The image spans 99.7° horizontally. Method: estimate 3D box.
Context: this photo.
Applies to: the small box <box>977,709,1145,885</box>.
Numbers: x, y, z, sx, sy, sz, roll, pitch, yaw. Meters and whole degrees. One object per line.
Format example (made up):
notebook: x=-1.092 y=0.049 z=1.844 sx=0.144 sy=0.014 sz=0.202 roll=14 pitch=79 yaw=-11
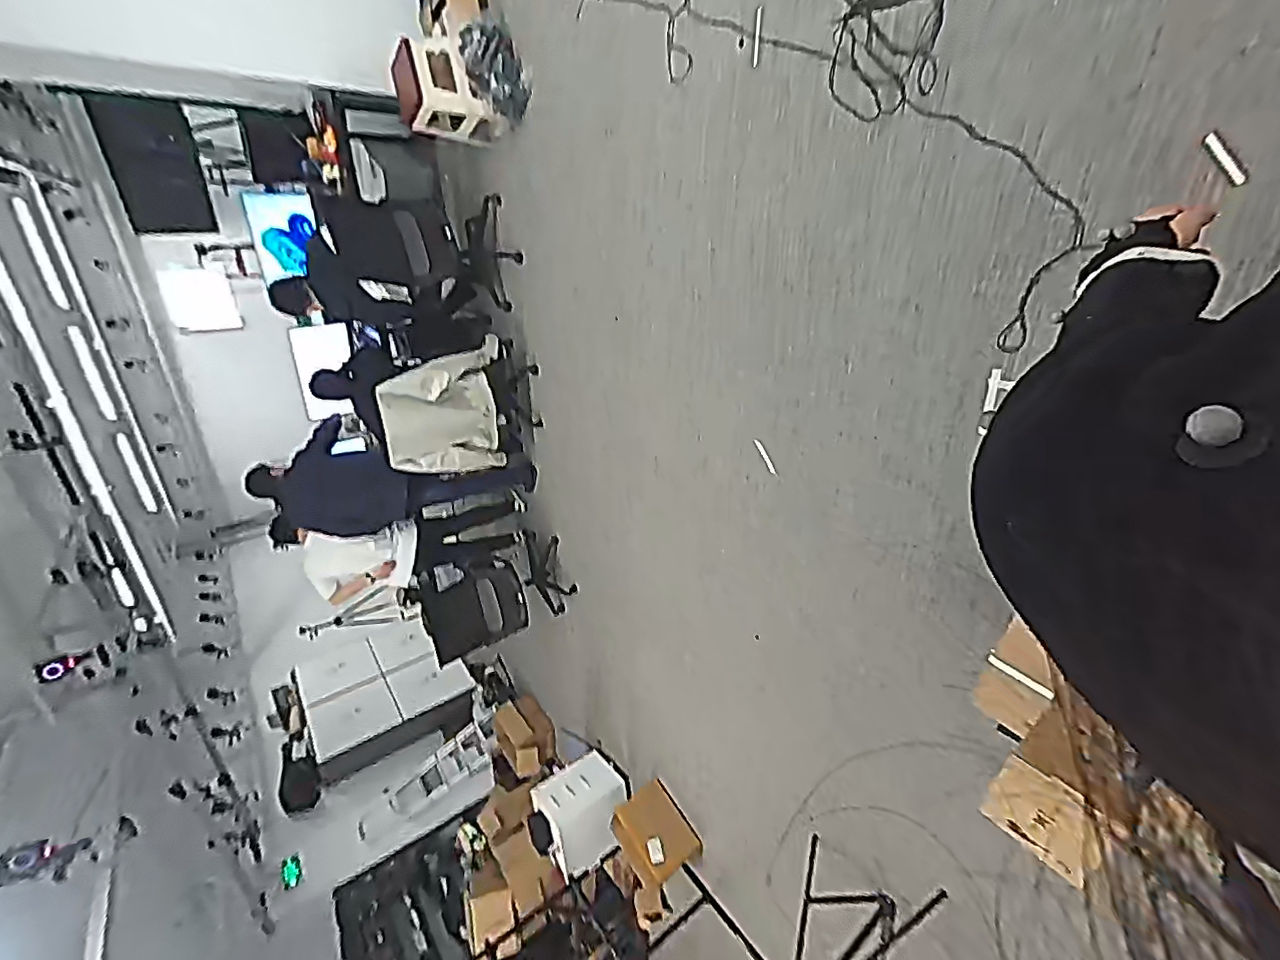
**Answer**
small box: x=0.745 y=0.547 z=0.956 sx=0.168 sy=0.176 sz=0.179 roll=35 pitch=131 yaw=43
